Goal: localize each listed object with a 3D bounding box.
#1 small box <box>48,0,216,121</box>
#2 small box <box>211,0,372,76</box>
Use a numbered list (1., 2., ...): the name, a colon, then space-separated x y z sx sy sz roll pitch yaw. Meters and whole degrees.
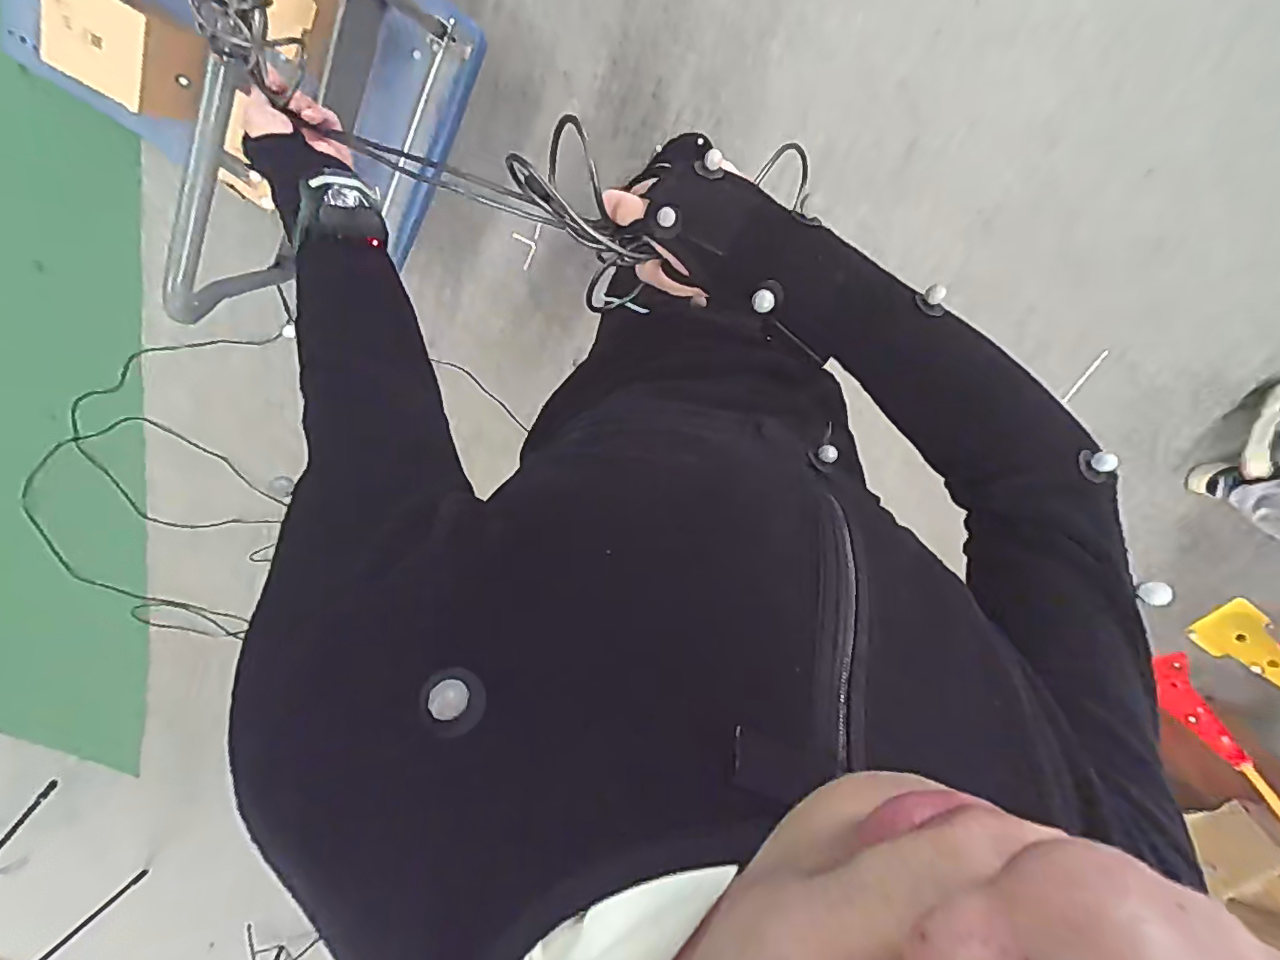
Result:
1. small box: -0.983 -0.836 1.059 0.179 0.176 0.168 28 115 -11
2. small box: -0.642 -0.897 1.005 0.179 0.176 0.168 32 115 -13
